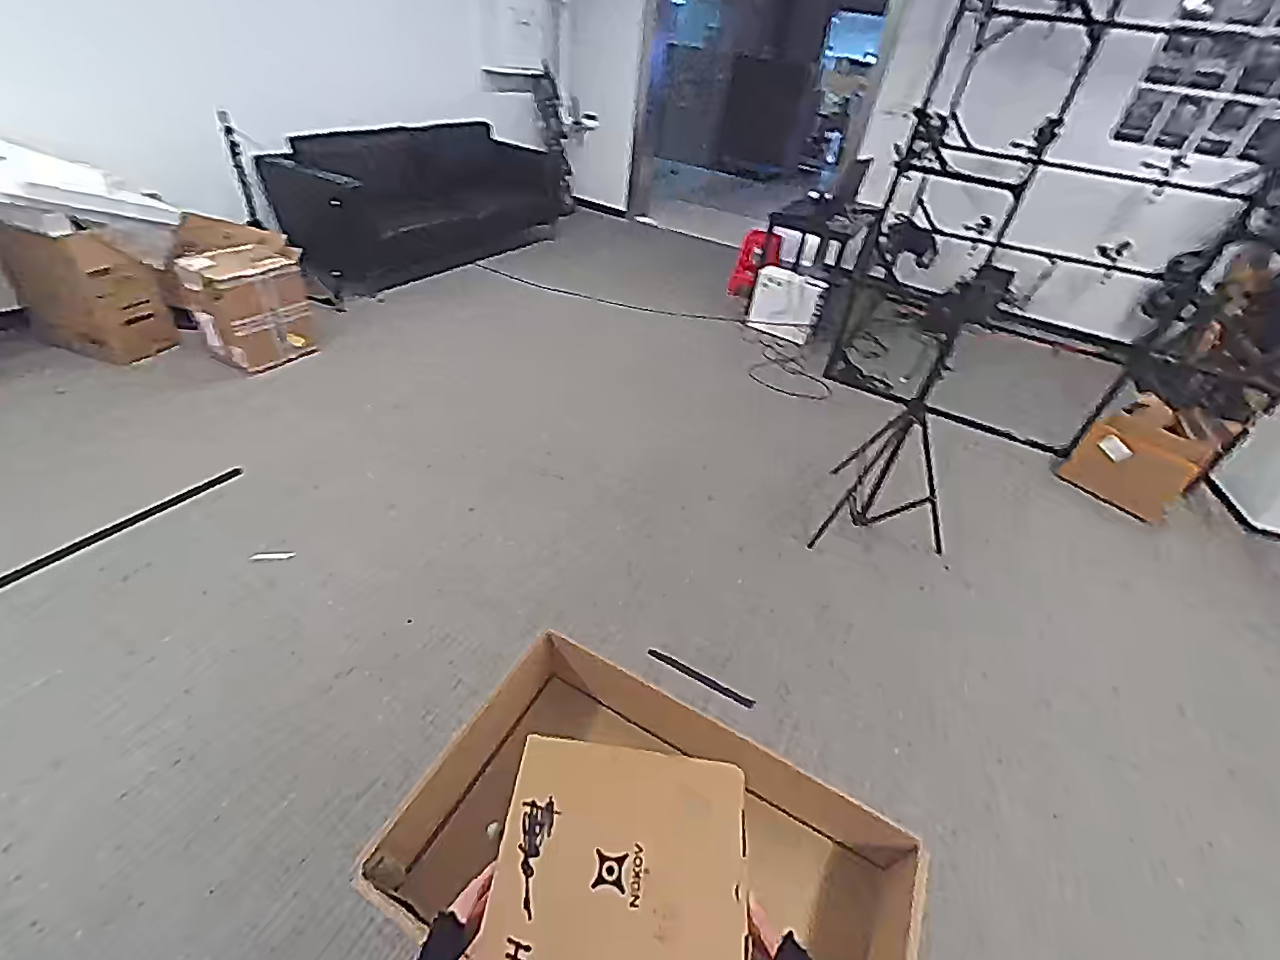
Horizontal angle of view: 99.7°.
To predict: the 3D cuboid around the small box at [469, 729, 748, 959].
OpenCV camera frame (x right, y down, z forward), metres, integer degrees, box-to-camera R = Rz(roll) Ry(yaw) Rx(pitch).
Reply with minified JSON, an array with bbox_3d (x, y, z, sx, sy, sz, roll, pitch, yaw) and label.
[{"bbox_3d":[-0.023,0.322,0.428,0.179,0.176,0.168,9,45,-1],"label":"small box"}]
